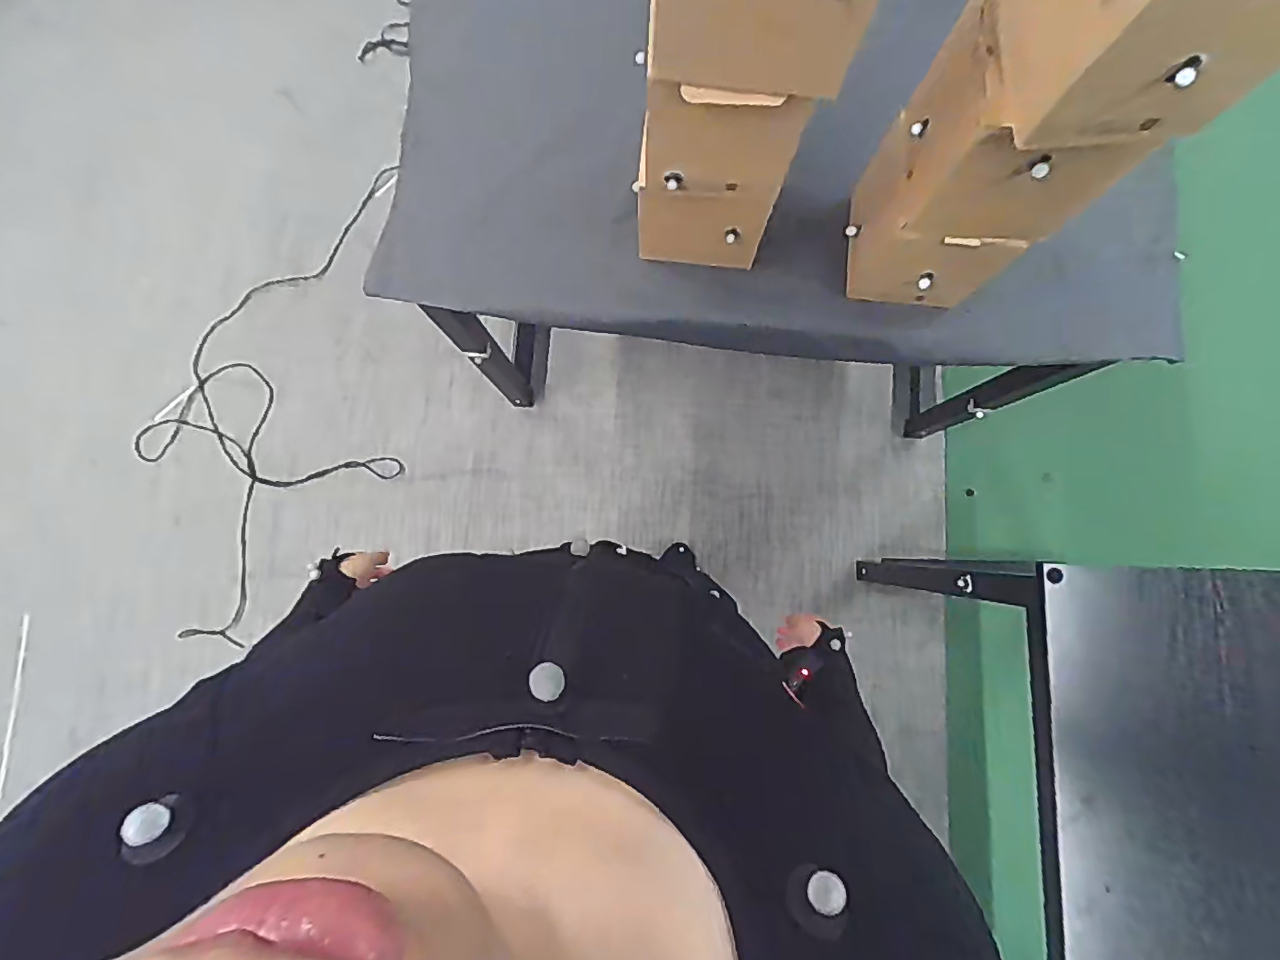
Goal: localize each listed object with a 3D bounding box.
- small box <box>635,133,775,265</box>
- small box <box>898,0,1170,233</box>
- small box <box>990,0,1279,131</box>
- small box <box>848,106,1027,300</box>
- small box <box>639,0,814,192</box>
[{"bbox_3d":[0.088,-0.424,0.760,0.179,0.176,0.168,5,81,2],"label":"small box"},{"bbox_3d":[0.406,-0.391,0.585,0.179,0.176,0.168,4,82,2],"label":"small box"},{"bbox_3d":[0.411,-0.404,0.420,0.168,0.176,0.179,-4,82,0],"label":"small box"},{"bbox_3d":[0.399,-0.369,0.747,0.168,0.176,0.179,6,83,2],"label":"small box"},{"bbox_3d":[0.086,-0.448,0.597,0.168,0.176,0.179,2,81,0],"label":"small box"}]
